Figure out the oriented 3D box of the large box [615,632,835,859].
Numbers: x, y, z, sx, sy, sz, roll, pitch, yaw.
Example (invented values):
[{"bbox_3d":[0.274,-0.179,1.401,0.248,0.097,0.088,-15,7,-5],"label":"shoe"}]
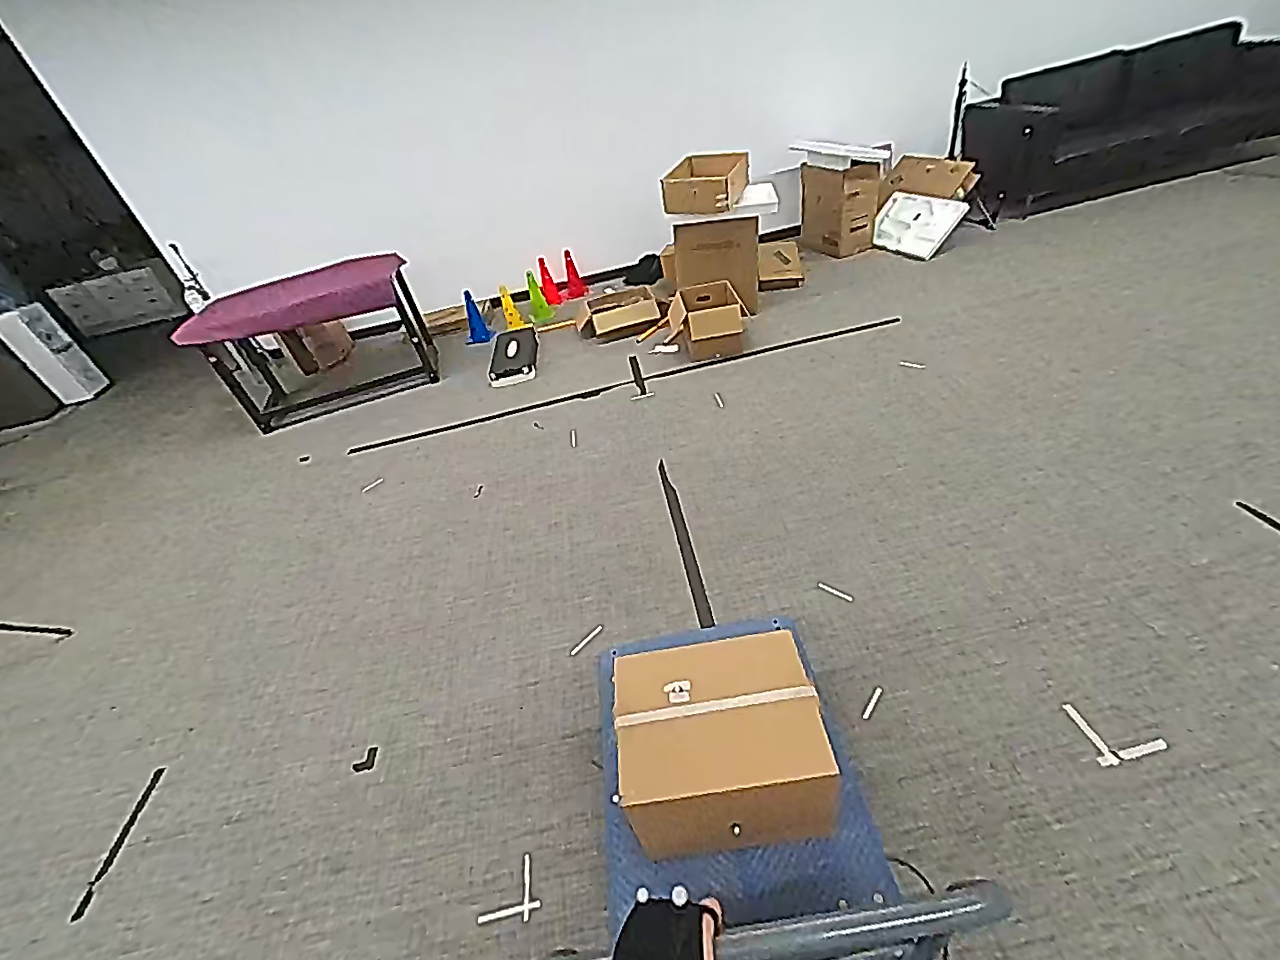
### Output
[{"bbox_3d":[0.178,0.588,1.198,0.408,0.320,0.320,-12,37,4],"label":"large box"}]
